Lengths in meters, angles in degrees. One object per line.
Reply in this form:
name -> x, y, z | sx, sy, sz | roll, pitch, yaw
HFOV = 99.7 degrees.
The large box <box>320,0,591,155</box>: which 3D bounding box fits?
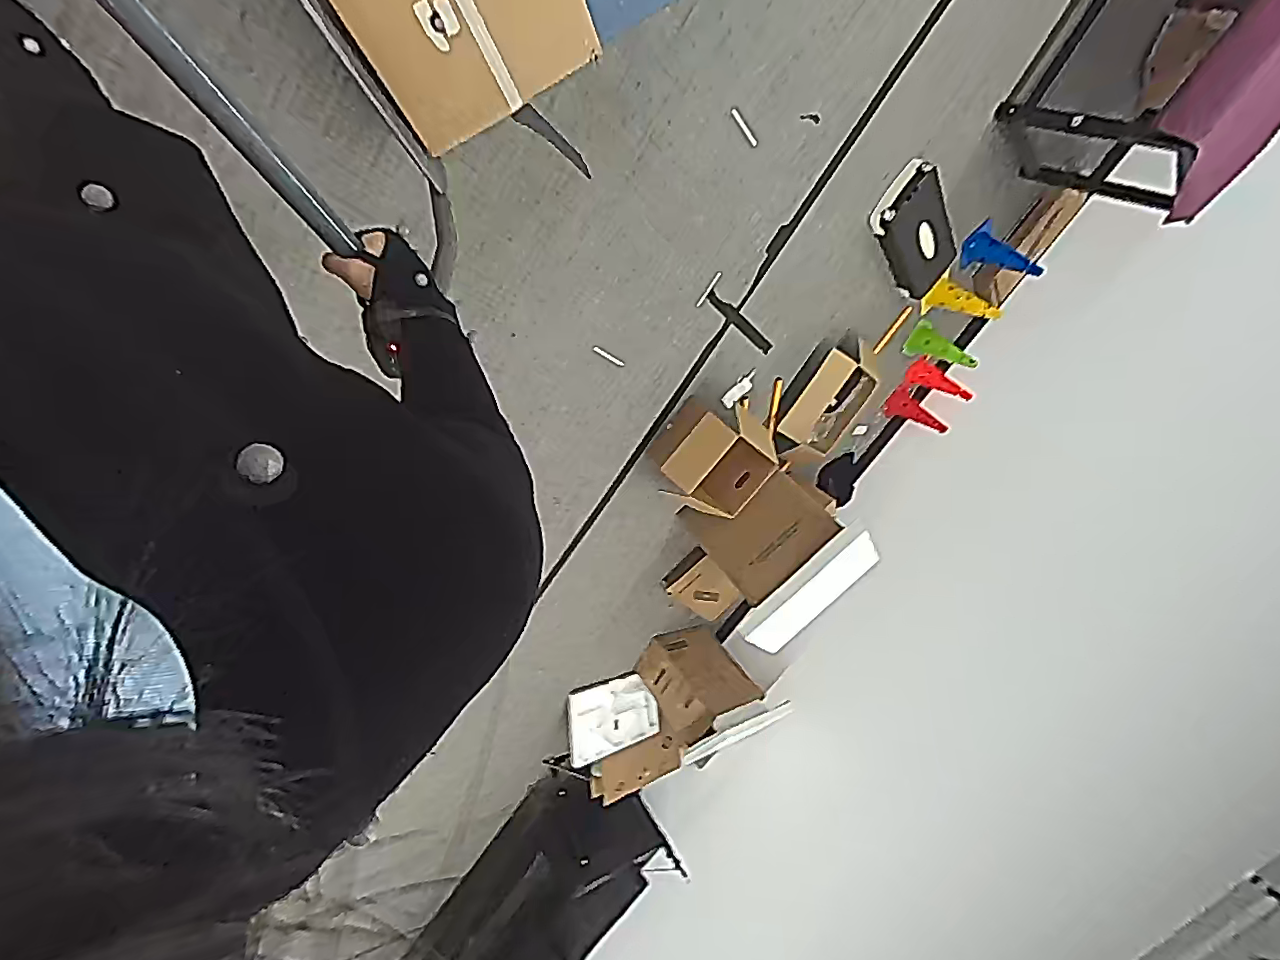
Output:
large box -> -0.328, -0.795, 0.786 | 0.320, 0.320, 0.408 | -28, 144, 4
